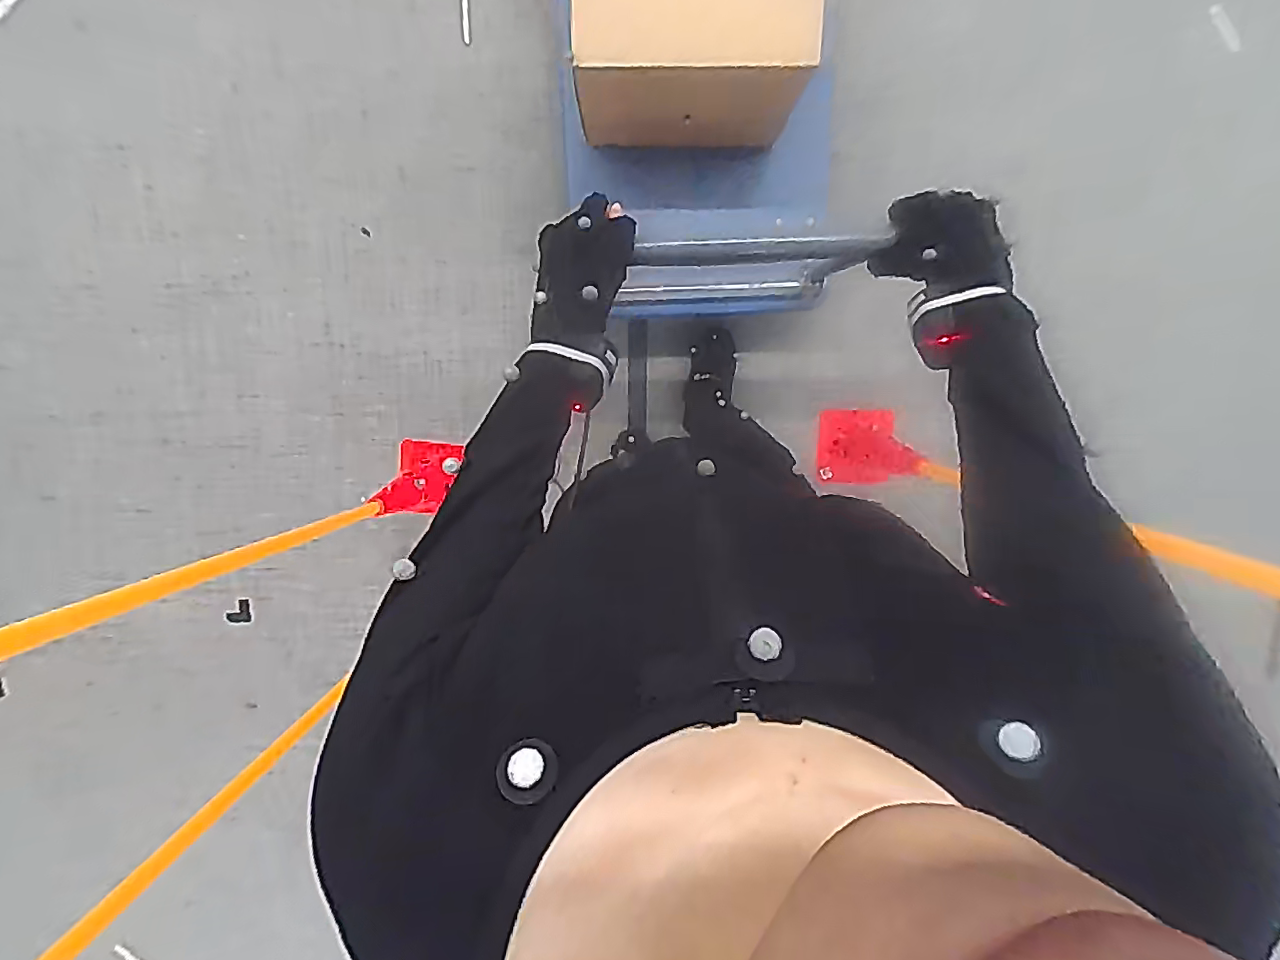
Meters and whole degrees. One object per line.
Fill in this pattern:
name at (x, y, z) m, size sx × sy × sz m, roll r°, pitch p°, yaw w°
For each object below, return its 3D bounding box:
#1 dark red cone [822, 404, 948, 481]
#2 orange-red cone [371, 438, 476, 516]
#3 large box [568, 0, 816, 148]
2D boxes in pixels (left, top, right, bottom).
dark red cone at (0.584, -0.069, 1.259) m, size 0.201 × 0.394 × 0.202 m, roll -1°, pitch 100°, yaw -2°
orange-red cone at (-0.546, 0.019, 1.296) m, size 0.198 × 0.360 × 0.199 m, roll 7°, pitch 98°, yaw -2°
large box at (0.085, -0.844, 1.000) m, size 0.408 × 0.320 × 0.320 m, roll 0°, pitch 101°, yaw 0°
